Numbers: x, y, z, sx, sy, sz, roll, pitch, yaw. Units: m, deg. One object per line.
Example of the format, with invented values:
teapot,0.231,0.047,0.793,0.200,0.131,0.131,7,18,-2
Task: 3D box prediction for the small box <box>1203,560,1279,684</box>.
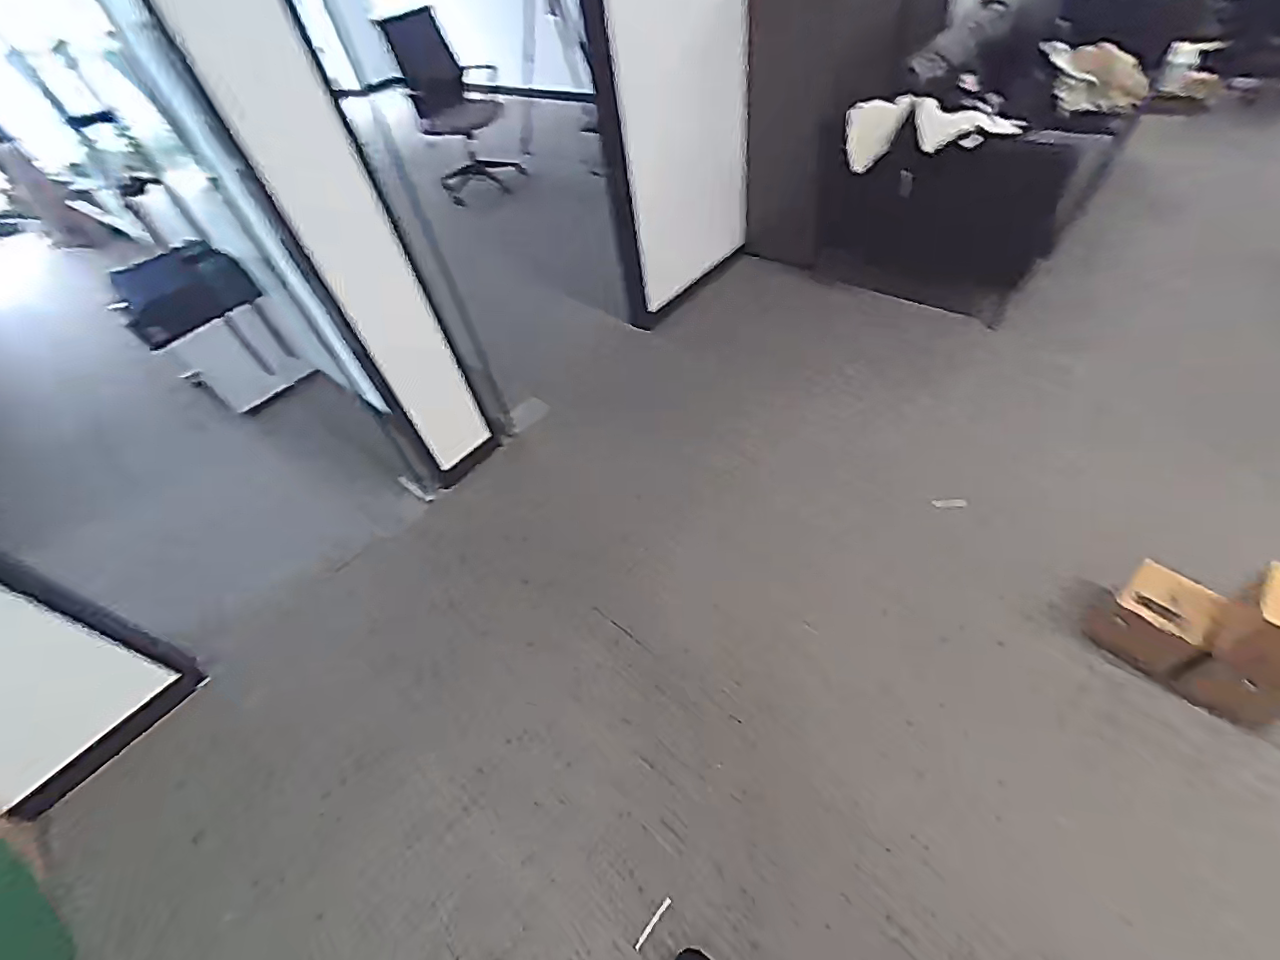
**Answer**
small box,1.345,0.306,1.128,0.179,0.176,0.168,30,60,30
